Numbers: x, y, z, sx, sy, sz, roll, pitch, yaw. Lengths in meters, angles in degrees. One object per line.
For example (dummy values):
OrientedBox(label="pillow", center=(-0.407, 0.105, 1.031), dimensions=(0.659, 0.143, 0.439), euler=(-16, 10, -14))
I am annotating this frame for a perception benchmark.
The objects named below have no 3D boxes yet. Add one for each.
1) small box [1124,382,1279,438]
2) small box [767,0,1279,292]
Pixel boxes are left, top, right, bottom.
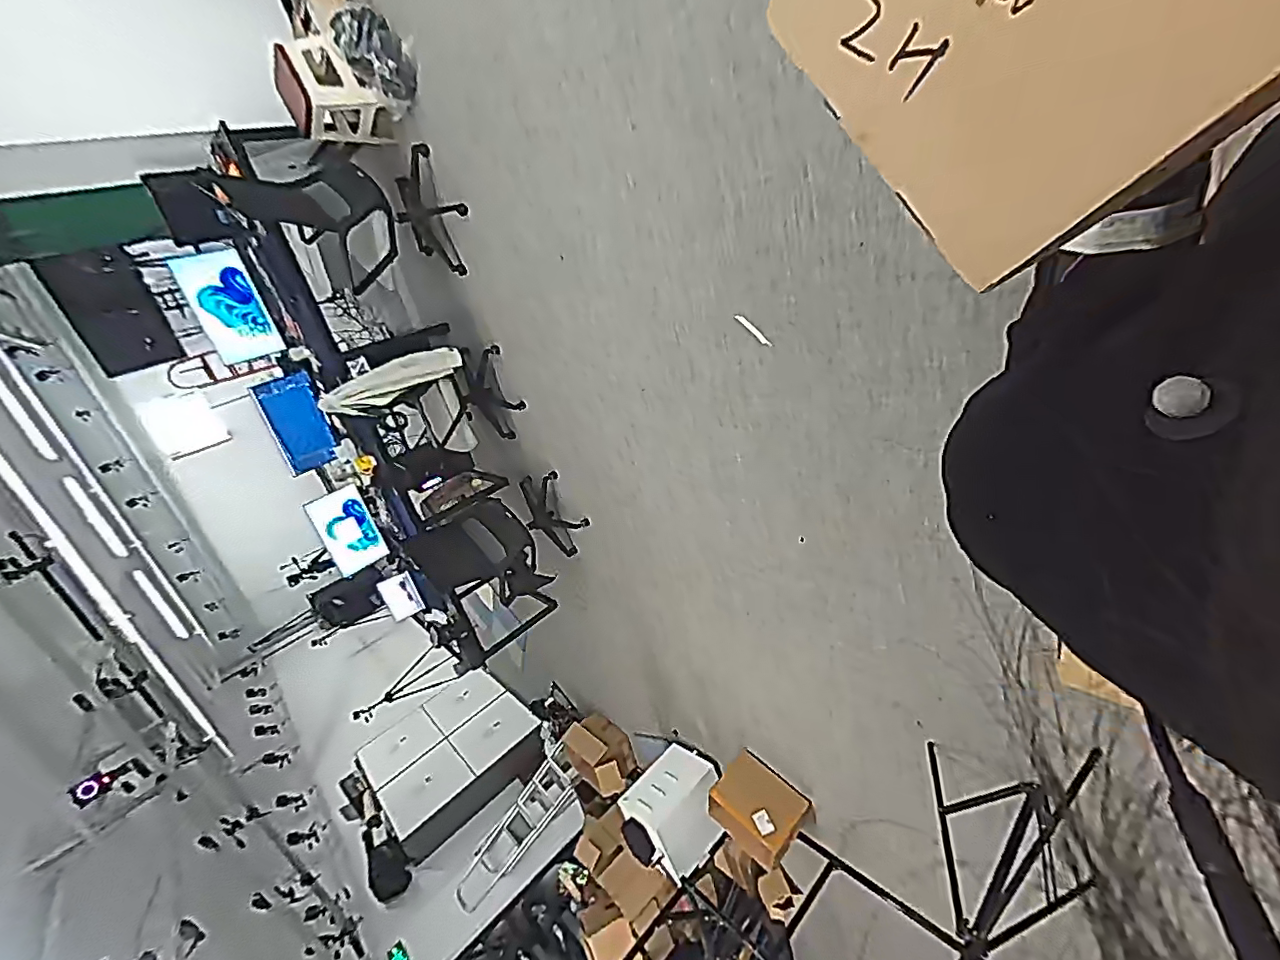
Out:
OrientedBox(label="small box", center=(0.780, -0.023, 0.726), dimensions=(0.168, 0.176, 0.179), euler=(3, 119, 53))
OrientedBox(label="small box", center=(0.181, -0.208, 0.181), dimensions=(0.168, 0.176, 0.179), euler=(57, 168, 7))
